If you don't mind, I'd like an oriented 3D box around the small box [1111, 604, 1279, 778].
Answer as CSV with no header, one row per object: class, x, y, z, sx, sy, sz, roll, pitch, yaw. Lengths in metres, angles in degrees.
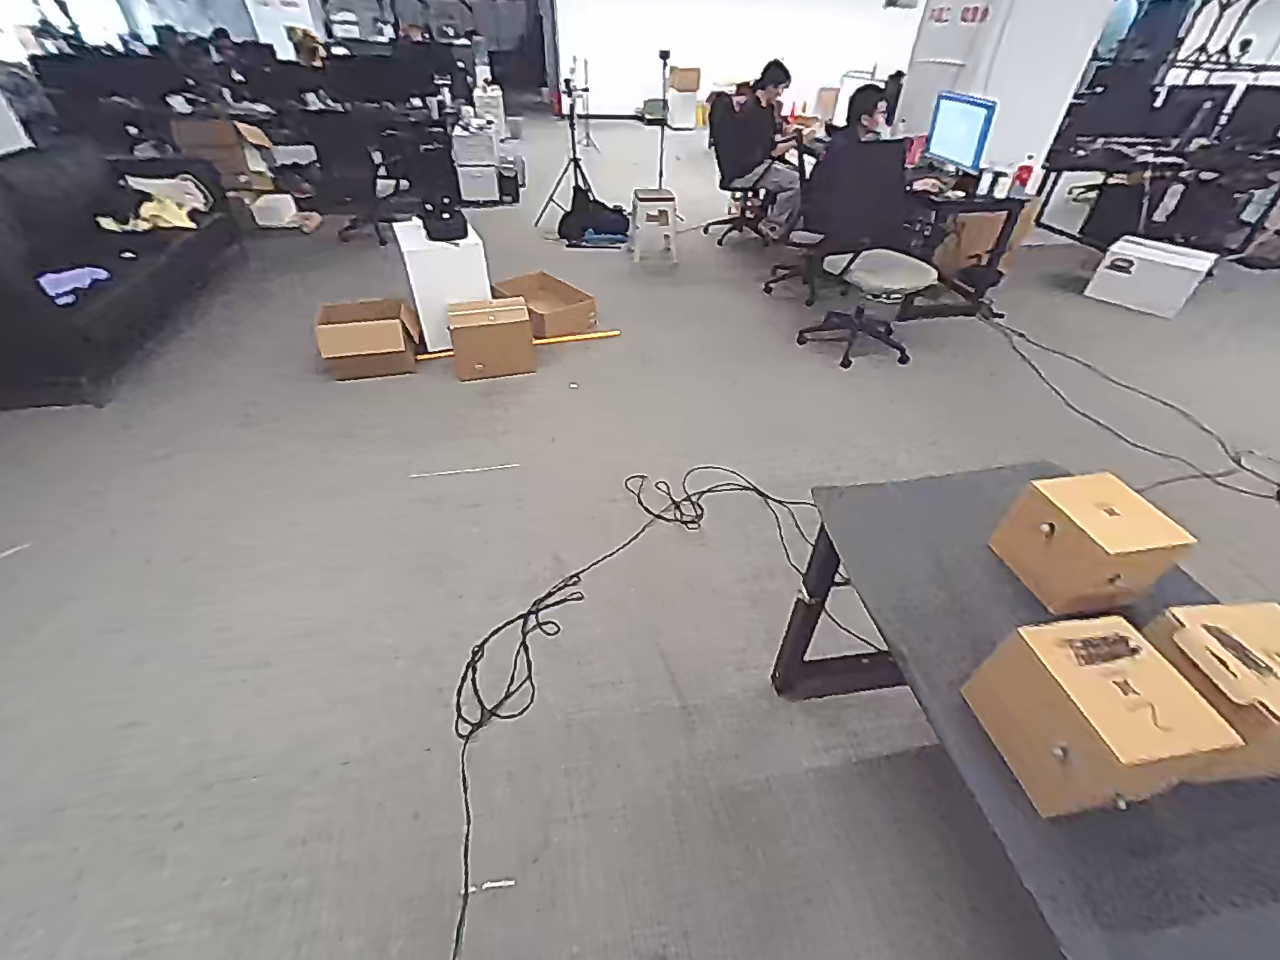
small box,0.809,0.291,0.743,0.179,0.176,0.168,-1,41,-5
